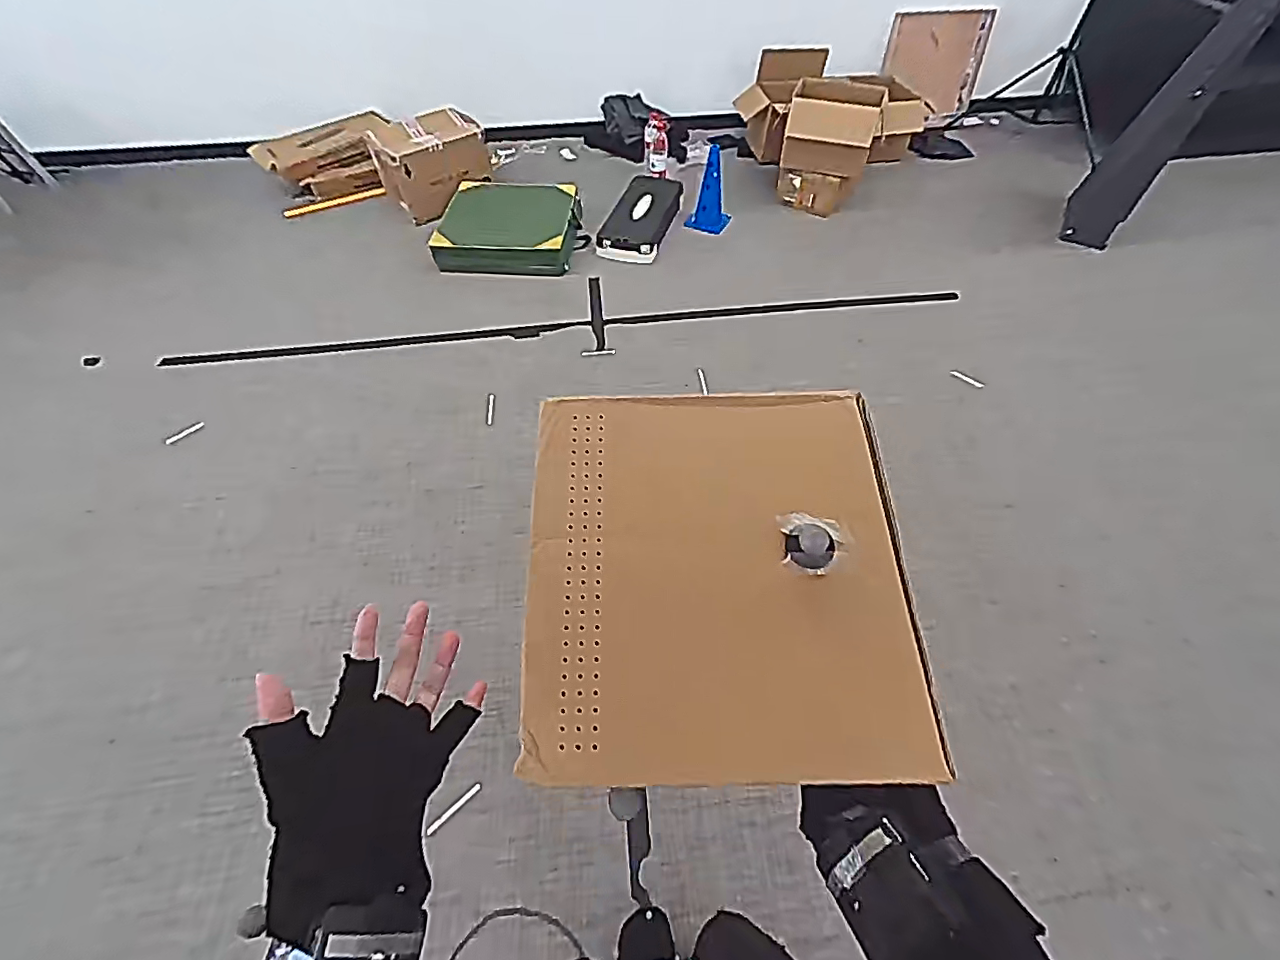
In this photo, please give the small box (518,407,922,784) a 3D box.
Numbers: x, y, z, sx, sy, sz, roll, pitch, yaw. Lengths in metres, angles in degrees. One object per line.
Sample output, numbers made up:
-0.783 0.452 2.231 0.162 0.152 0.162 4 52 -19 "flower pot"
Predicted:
0.029 0.075 0.322 0.176 0.168 0.179 -2 64 2 "small box"
